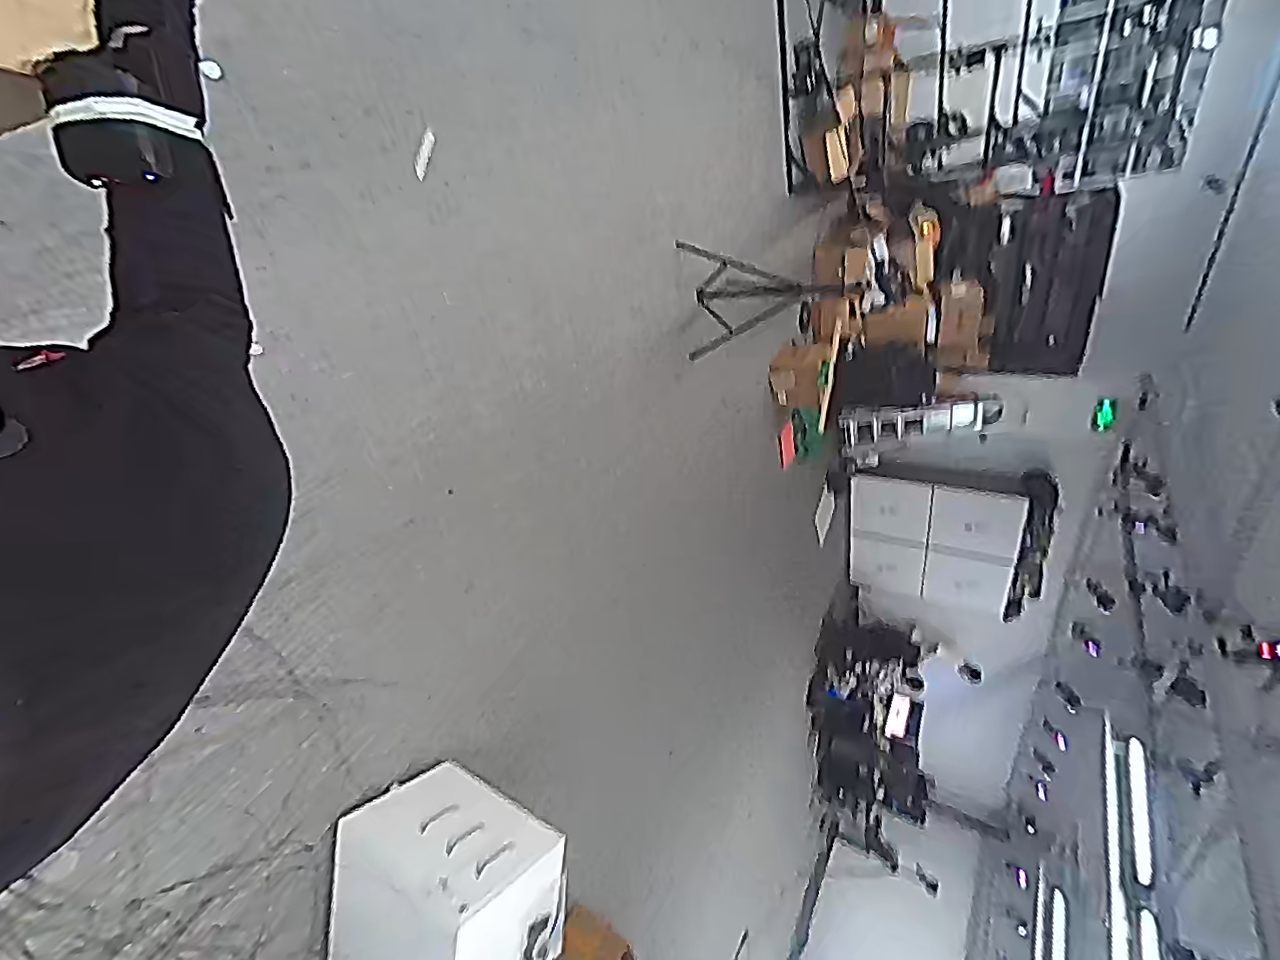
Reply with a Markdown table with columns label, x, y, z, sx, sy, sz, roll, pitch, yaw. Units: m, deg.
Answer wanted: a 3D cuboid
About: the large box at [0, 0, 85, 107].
| label | x | y | z | sx | sy | sz | roll | pitch | yaw |
| --- | --- | --- | --- | --- | --- | --- | --- | --- | --- |
| large box | -0.595 | -0.420 | 0.241 | 0.408 | 0.320 | 0.320 | -17 | 119 | -56 |
